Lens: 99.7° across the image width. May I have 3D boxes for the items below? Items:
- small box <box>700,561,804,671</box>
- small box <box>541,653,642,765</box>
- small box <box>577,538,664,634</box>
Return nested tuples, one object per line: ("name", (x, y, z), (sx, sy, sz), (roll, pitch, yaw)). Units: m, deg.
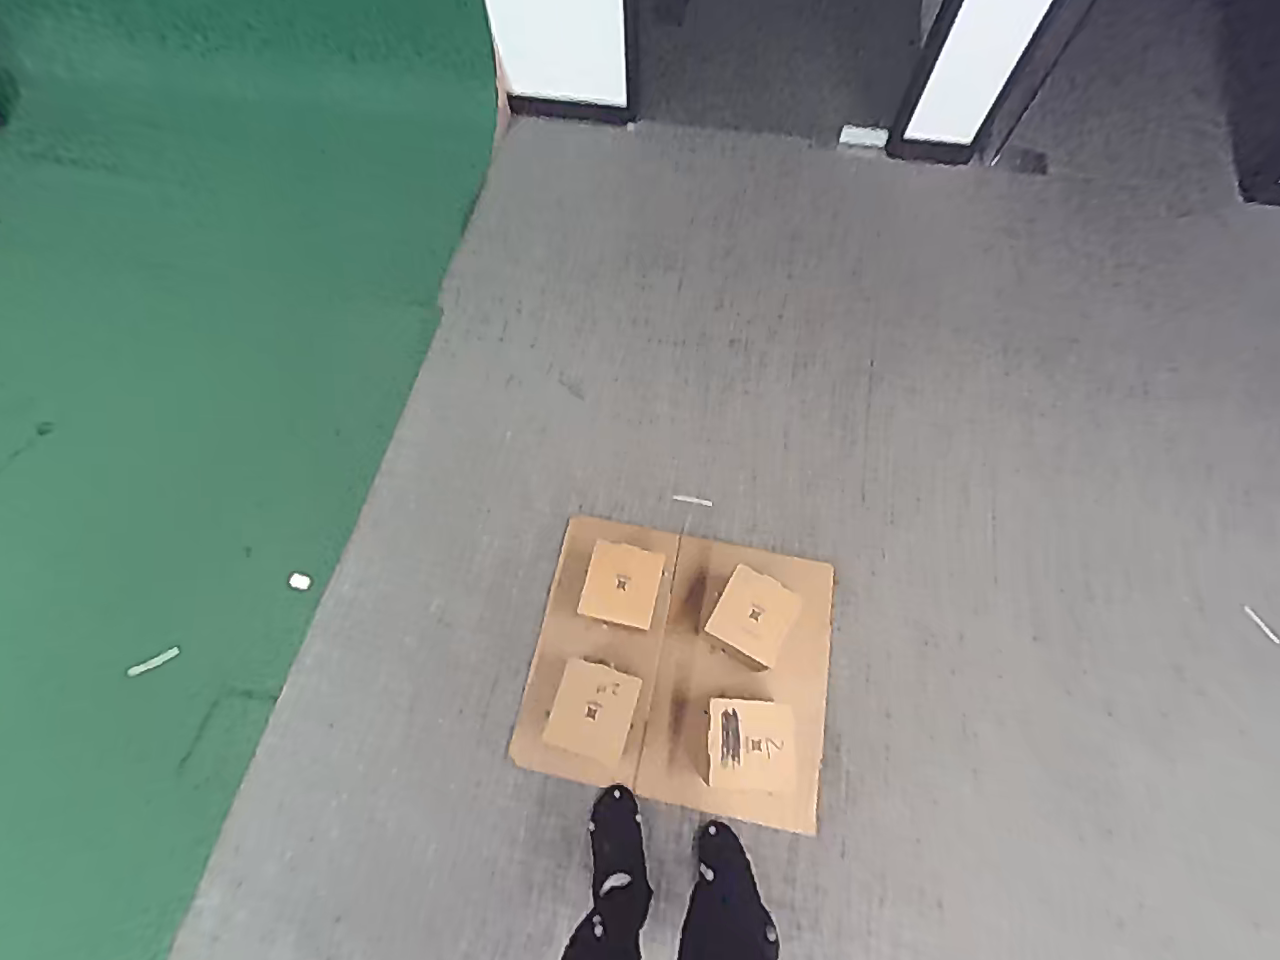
("small box", (0.250, 0.319, 1.249), (0.168, 0.176, 0.179), (29, 70, 12))
("small box", (-0.096, 0.497, 1.182), (0.168, 0.176, 0.179), (16, 68, 6))
("small box", (-0.040, 0.258, 1.282), (0.168, 0.176, 0.179), (12, 68, 5))
